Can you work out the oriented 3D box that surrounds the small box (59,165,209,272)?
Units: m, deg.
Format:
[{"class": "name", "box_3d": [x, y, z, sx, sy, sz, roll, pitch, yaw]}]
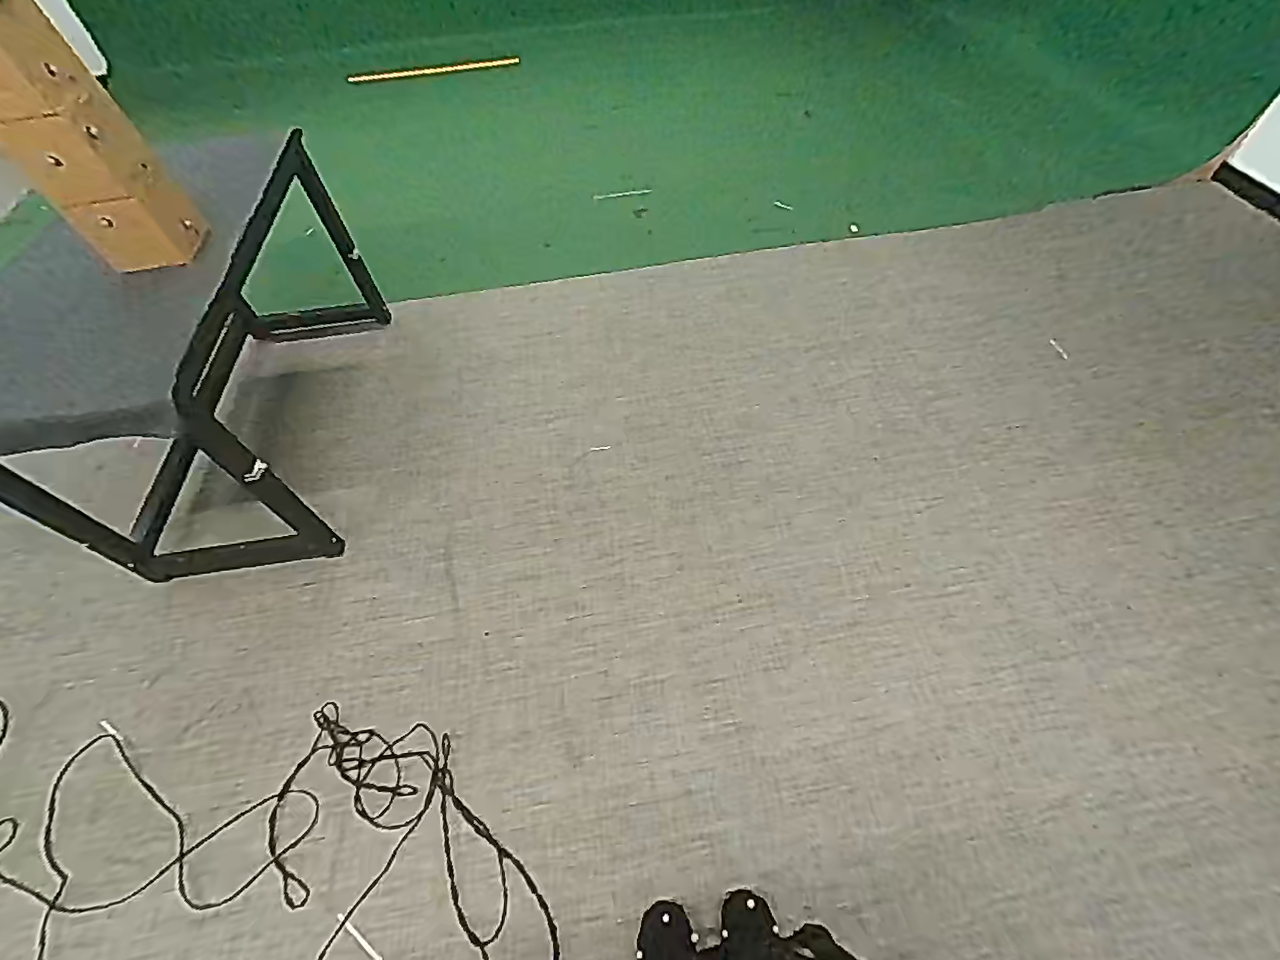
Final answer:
[{"class": "small box", "box_3d": [-1.211, -0.627, 1.310, 0.179, 0.176, 0.168, -10, 56, -3]}]

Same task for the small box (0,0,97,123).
[{"class": "small box", "box_3d": [-1.238, -0.814, 1.043, 0.179, 0.176, 0.168, -7, 55, -1]}]
